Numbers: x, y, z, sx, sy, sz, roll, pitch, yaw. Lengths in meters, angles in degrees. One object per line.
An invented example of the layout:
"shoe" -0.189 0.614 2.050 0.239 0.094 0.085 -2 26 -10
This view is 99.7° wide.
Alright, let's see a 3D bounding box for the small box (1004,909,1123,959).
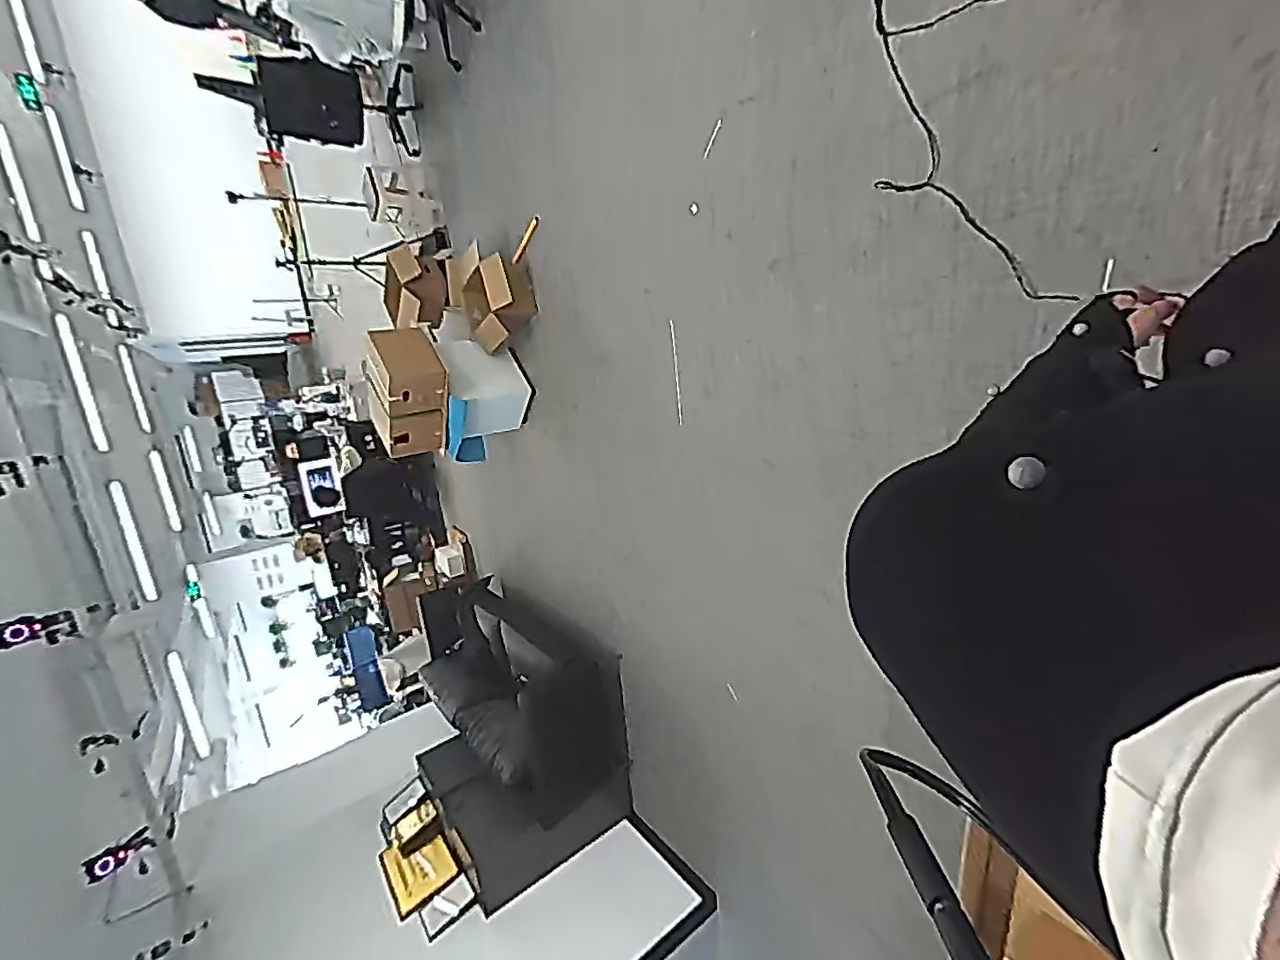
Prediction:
"small box" 0.918 1.094 1.179 0.179 0.176 0.168 15 114 49
